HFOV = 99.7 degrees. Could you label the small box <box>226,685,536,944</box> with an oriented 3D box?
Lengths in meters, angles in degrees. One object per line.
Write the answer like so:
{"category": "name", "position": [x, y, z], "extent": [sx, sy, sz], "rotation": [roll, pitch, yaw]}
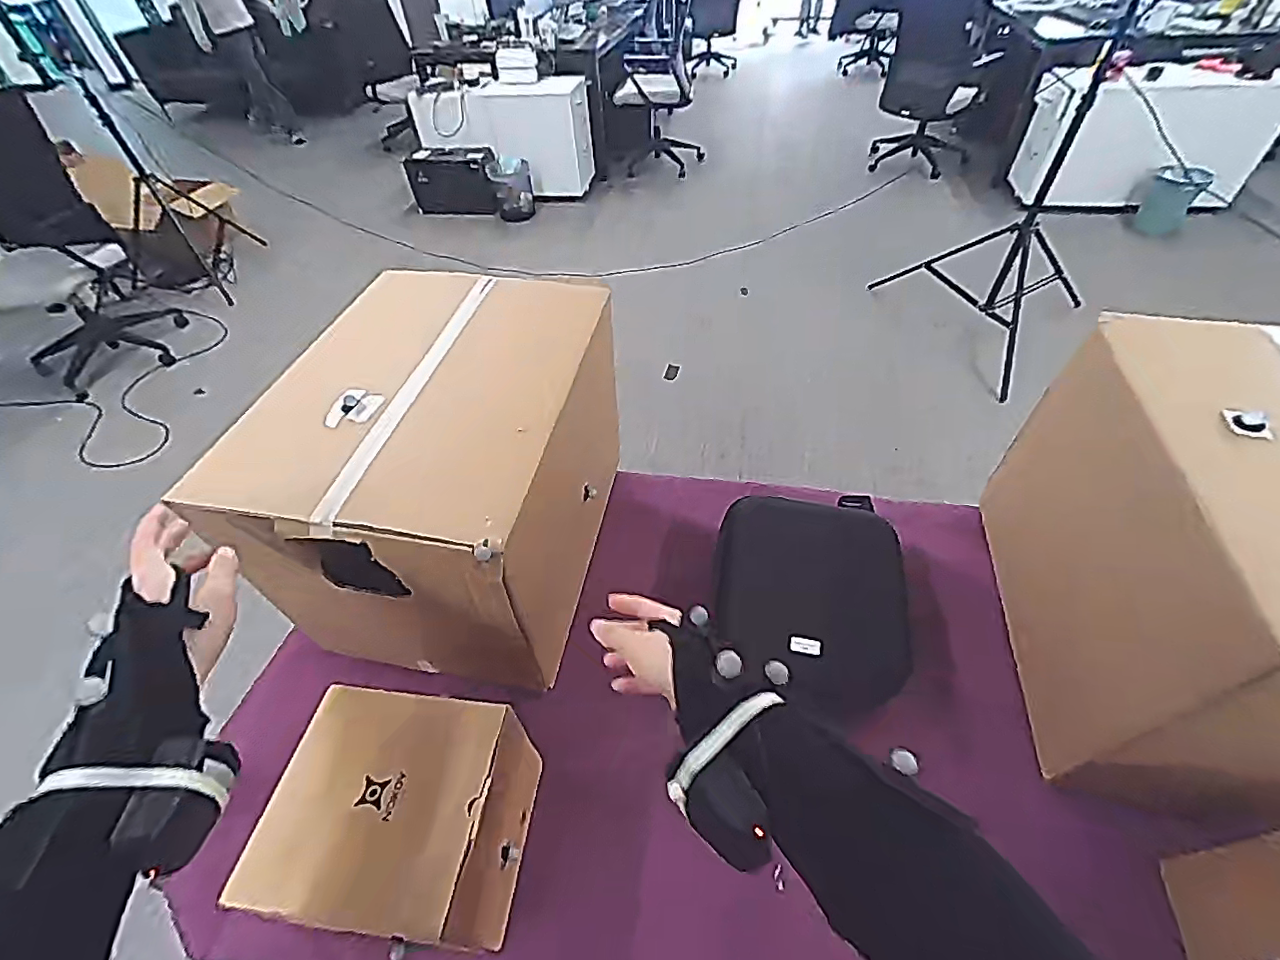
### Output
{"category": "small box", "position": [-0.211, 0.311, 0.502], "extent": [0.179, 0.176, 0.168], "rotation": [3, 47, 6]}

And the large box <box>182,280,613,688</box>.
{"category": "large box", "position": [-0.223, -0.003, 0.694], "extent": [0.320, 0.320, 0.408], "rotation": [6, 51, 8]}
